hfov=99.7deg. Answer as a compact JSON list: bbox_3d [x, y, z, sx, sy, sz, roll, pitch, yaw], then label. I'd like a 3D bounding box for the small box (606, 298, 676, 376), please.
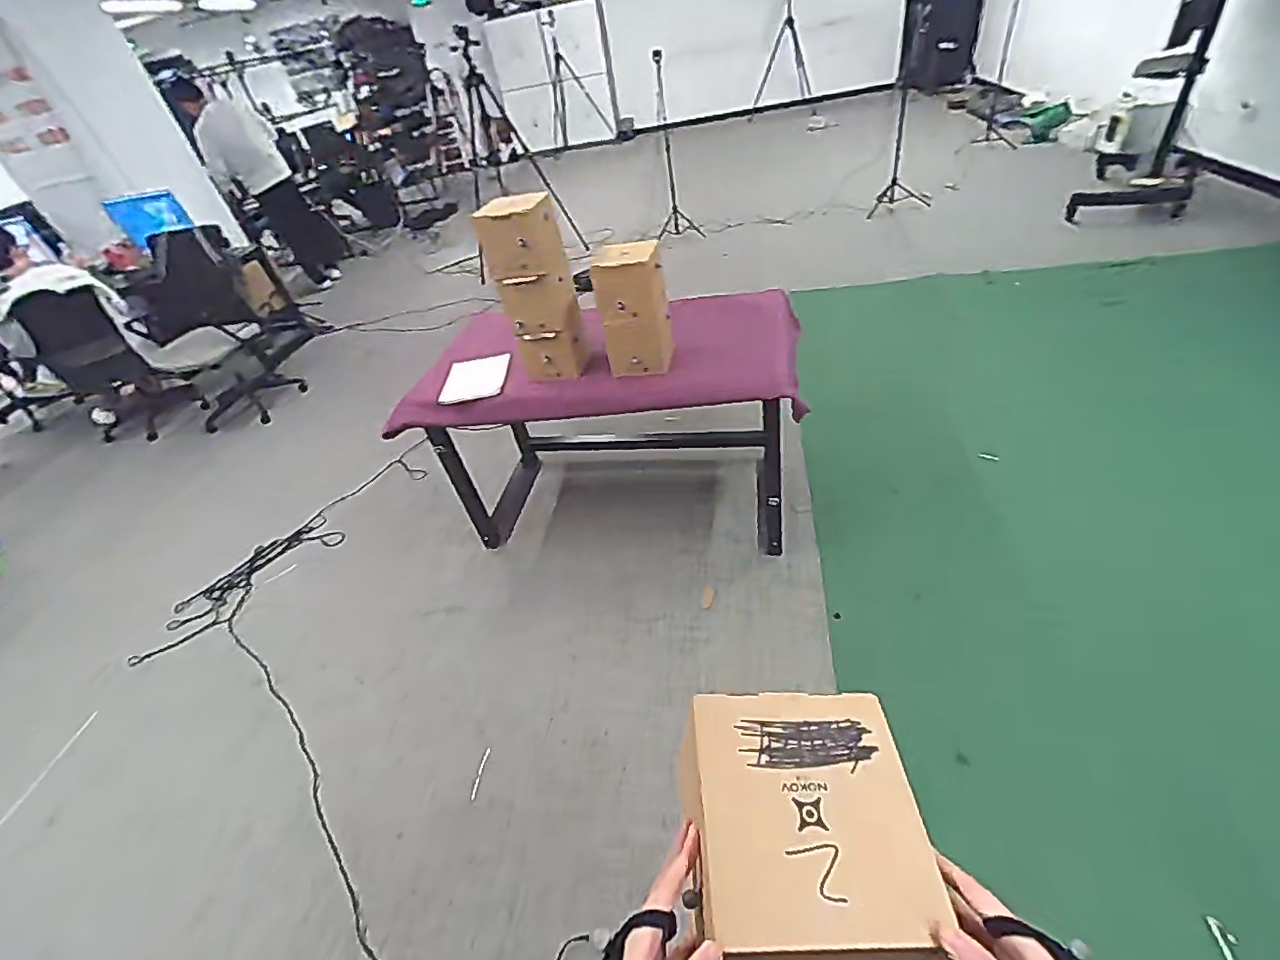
[{"bbox_3d":[0.010,-0.431,1.631,0.168,0.176,0.179,0,41,15],"label":"small box"}]

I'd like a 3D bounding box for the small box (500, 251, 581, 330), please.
[{"bbox_3d":[-0.283,-0.551,1.592,0.168,0.176,0.179,0,41,14],"label":"small box"}]

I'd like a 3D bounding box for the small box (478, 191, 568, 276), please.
[{"bbox_3d":[-0.310,-0.670,1.484,0.168,0.176,0.179,1,41,14],"label":"small box"}]

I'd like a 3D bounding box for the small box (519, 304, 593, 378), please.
[{"bbox_3d":[-0.256,-0.432,1.702,0.168,0.176,0.179,0,42,14],"label":"small box"}]

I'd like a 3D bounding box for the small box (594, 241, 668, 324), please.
[{"bbox_3d":[-0.017,-0.558,1.533,0.168,0.176,0.179,0,41,14],"label":"small box"}]
